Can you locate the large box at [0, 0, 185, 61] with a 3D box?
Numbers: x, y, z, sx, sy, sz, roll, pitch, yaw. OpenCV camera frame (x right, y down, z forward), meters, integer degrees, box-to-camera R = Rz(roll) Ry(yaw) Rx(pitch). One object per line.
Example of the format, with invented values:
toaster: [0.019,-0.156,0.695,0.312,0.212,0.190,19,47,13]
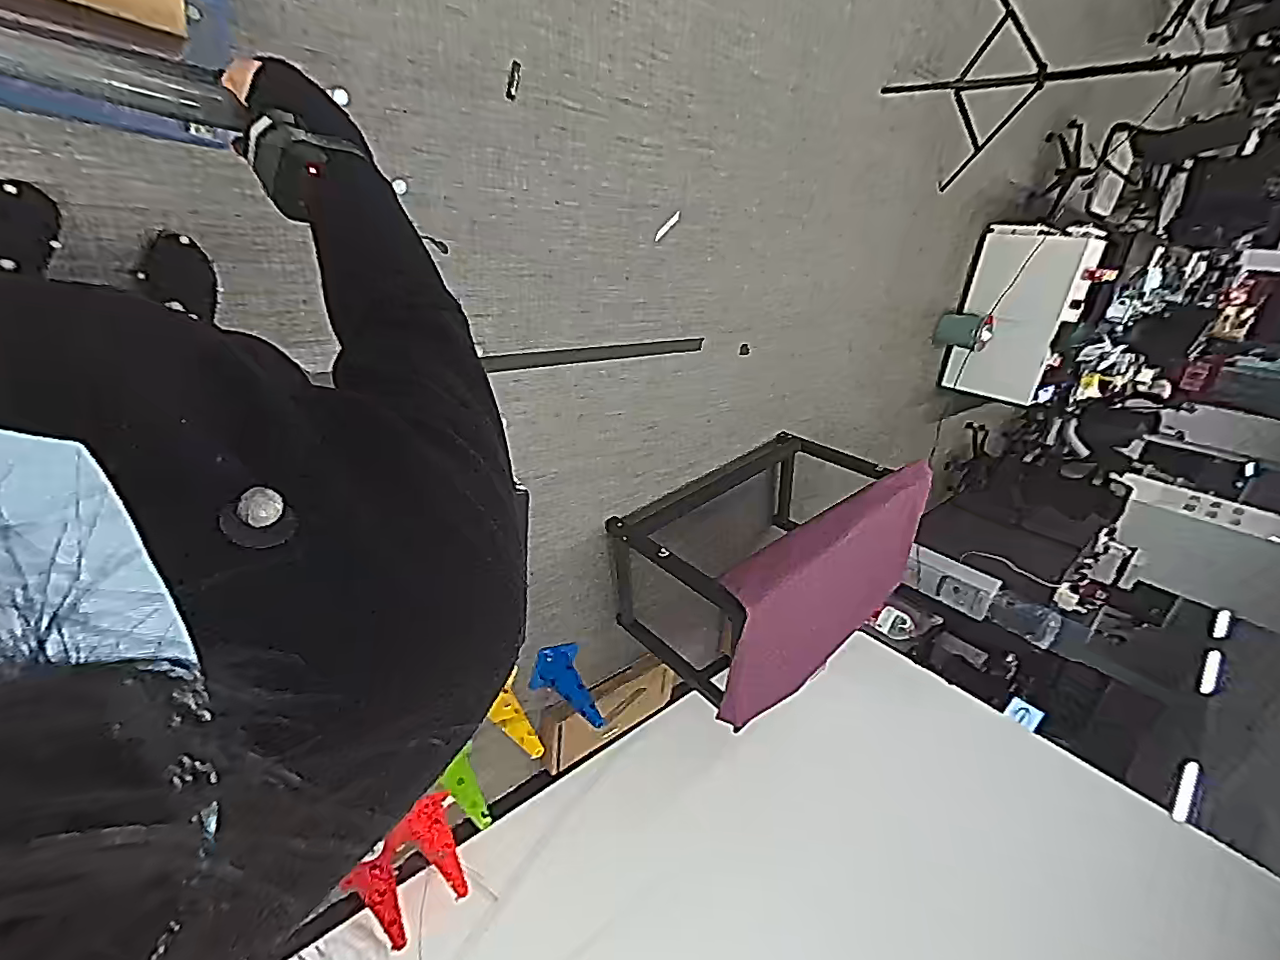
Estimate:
large box: [-0.788,-0.725,0.583,0.408,0.320,0.320,-10,119,-42]
